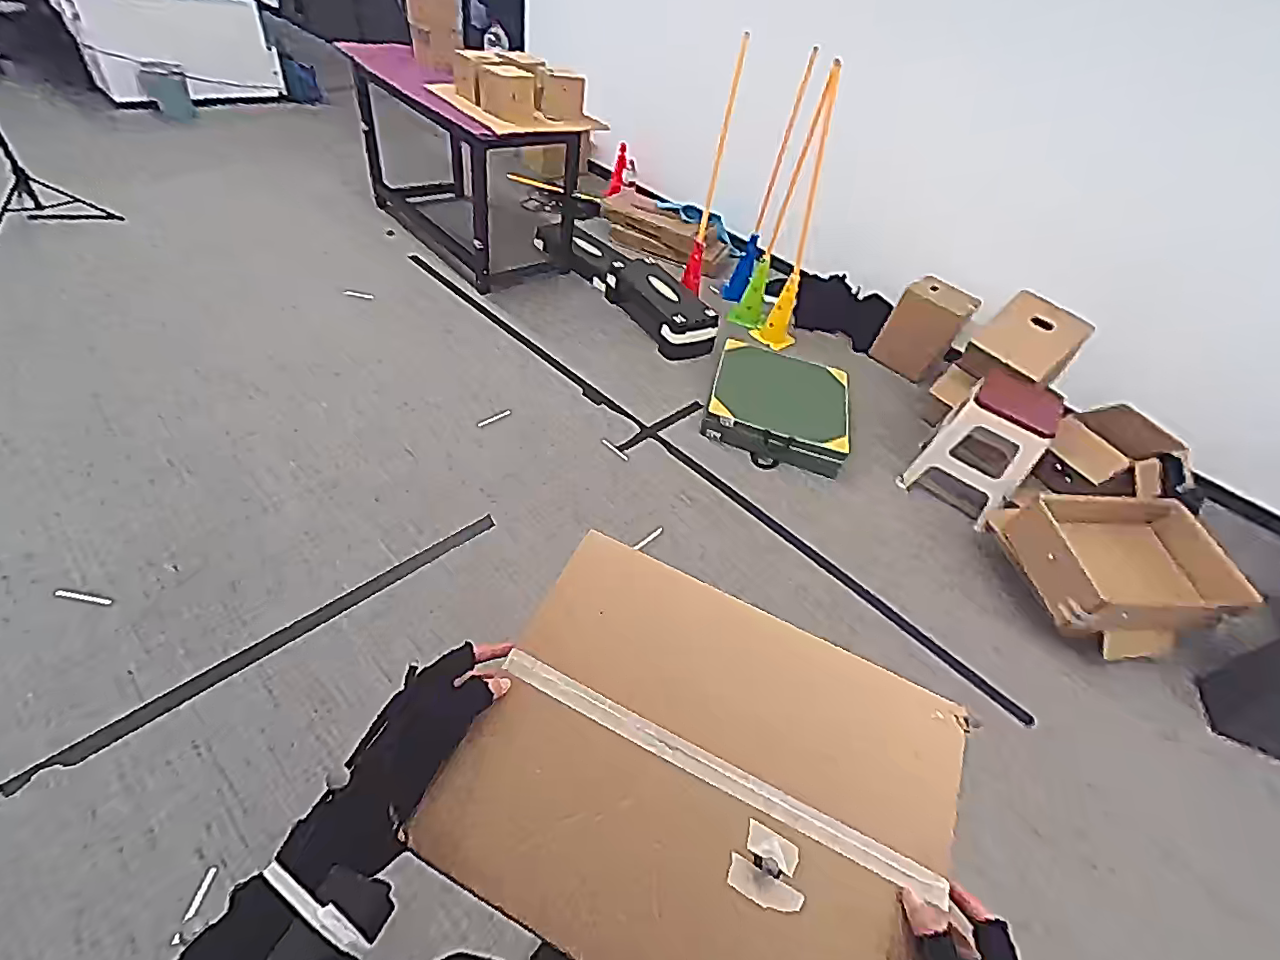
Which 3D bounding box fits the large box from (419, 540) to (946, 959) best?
[{"bbox_3d":[0.044,0.334,0.604,0.408,0.320,0.320,25,57,10],"label":"large box"}]
